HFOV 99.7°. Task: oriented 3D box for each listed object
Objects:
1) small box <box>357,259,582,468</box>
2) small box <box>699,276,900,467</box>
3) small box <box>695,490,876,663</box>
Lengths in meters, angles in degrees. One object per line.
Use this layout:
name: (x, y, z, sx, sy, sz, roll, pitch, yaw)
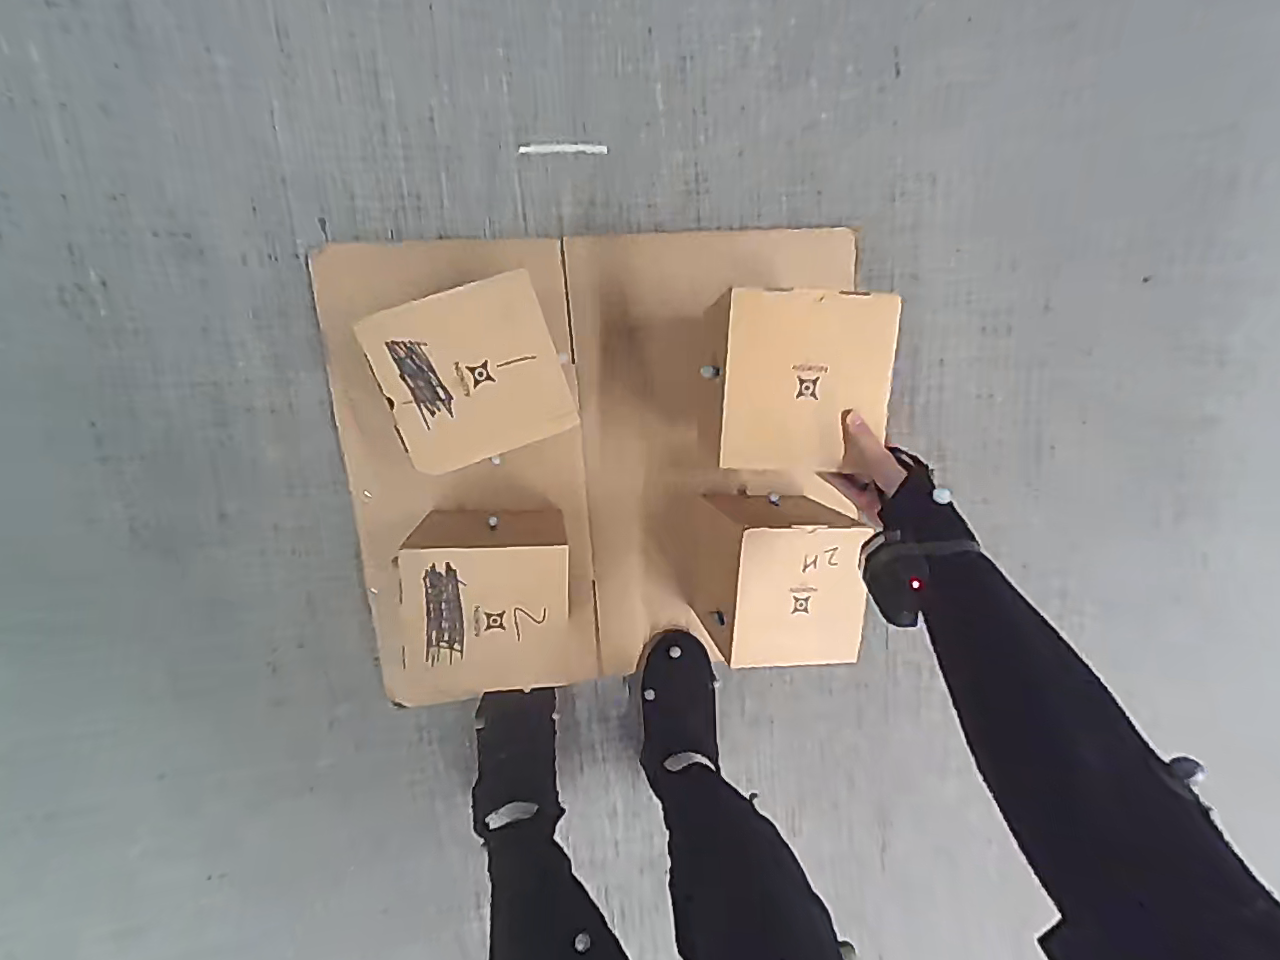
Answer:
small box: (-0.176, -0.124, 0.609, 0.179, 0.176, 0.168, -20, 102, -7)
small box: (0.161, -0.116, 0.607, 0.168, 0.176, 0.179, 3, 98, -2)
small box: (0.176, 0.118, 0.707, 0.168, 0.176, 0.179, 2, 100, -11)
